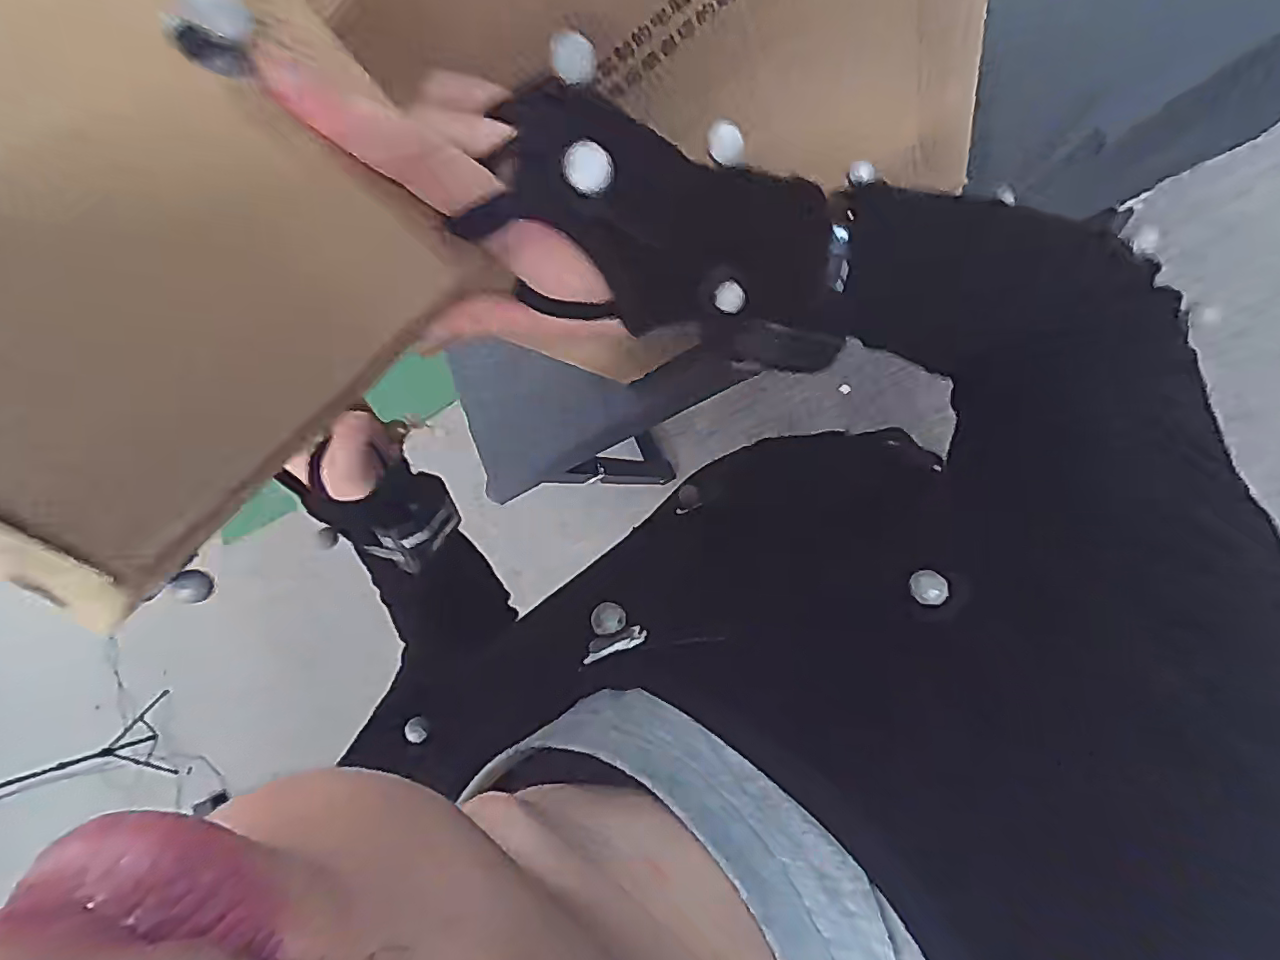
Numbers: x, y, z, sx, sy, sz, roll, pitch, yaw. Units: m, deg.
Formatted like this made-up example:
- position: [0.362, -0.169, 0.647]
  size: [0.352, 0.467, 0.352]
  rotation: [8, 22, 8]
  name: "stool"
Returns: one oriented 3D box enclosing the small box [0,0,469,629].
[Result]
- position: [-0.197, -0.073, 0.177]
  size: [0.168, 0.179, 0.176]
  rotation: [-18, 36, 44]
  name: "small box"
